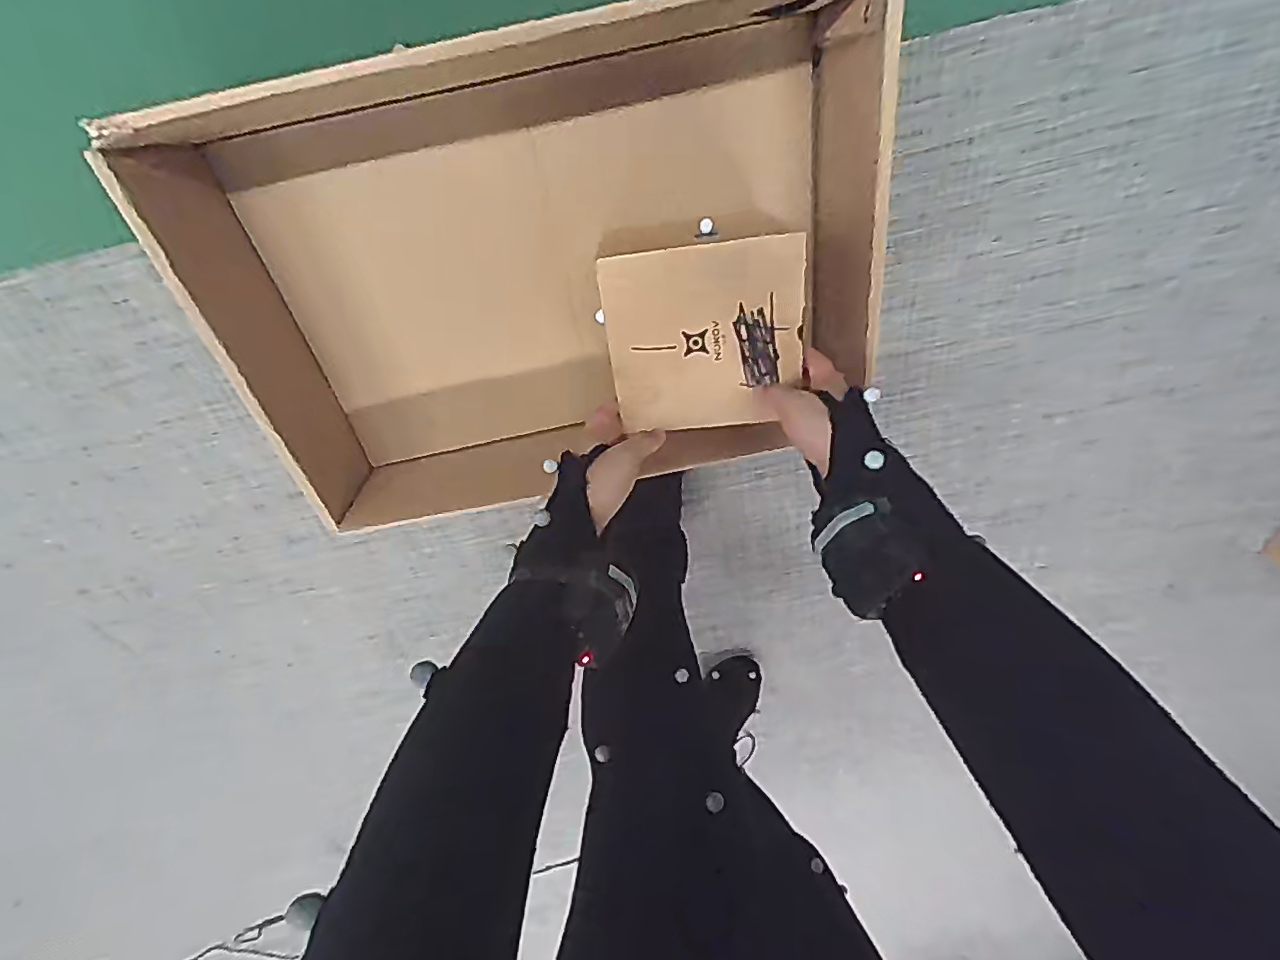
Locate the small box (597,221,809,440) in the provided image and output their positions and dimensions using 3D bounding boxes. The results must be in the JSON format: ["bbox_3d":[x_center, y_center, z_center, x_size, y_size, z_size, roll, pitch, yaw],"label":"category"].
[{"bbox_3d":[0.057,-0.157,0.543,0.179,0.176,0.168,-6,120,4],"label":"small box"}]
